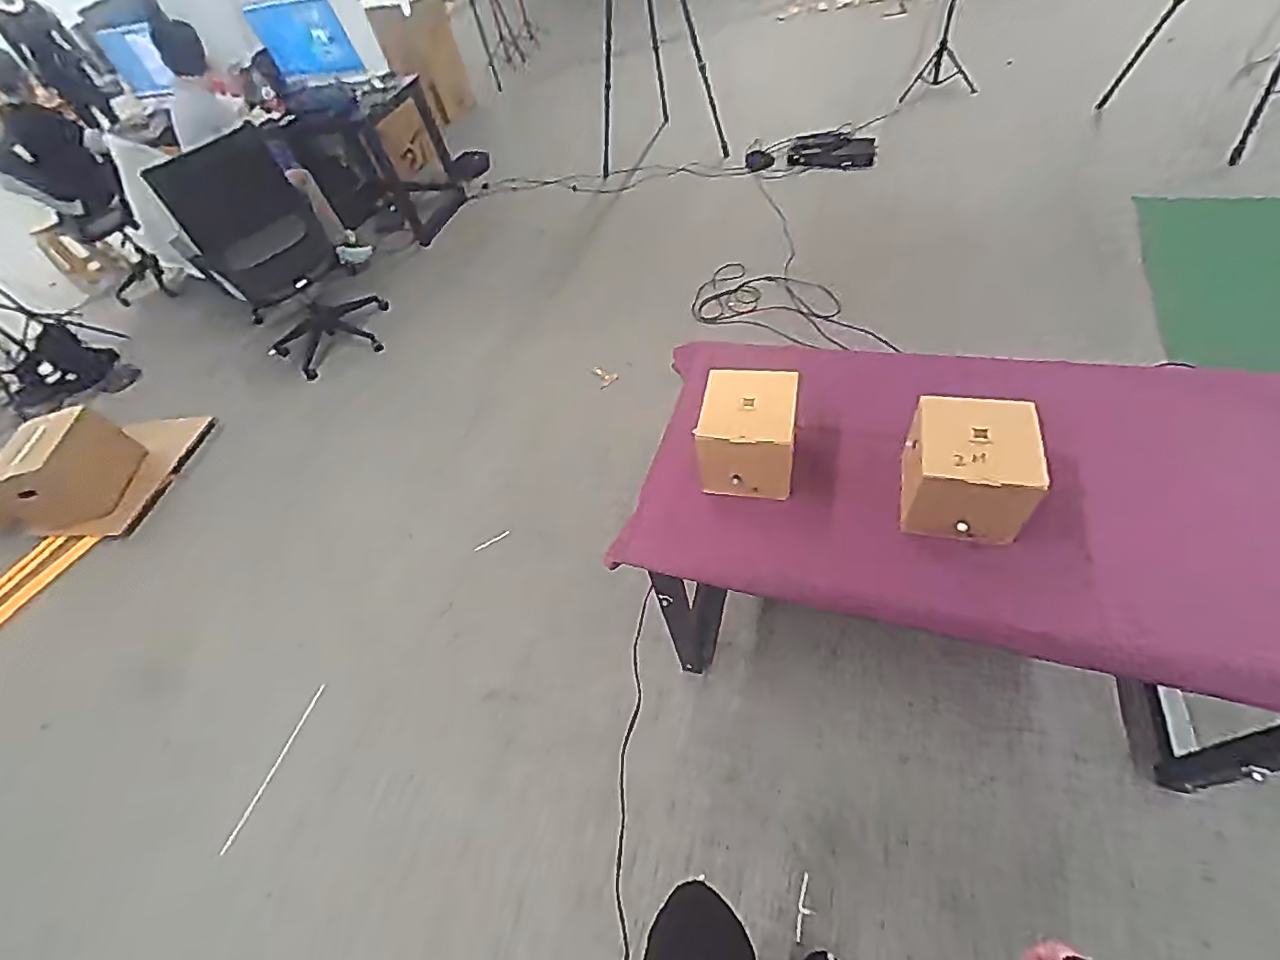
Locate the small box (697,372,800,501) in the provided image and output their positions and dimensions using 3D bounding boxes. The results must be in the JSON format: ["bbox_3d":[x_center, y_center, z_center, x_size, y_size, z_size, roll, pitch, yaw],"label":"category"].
[{"bbox_3d":[0.208,-0.083,1.030,0.168,0.176,0.179,5,55,16],"label":"small box"}]

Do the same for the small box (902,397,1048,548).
[{"bbox_3d":[0.540,-0.012,0.898,0.168,0.176,0.179,7,55,18],"label":"small box"}]
